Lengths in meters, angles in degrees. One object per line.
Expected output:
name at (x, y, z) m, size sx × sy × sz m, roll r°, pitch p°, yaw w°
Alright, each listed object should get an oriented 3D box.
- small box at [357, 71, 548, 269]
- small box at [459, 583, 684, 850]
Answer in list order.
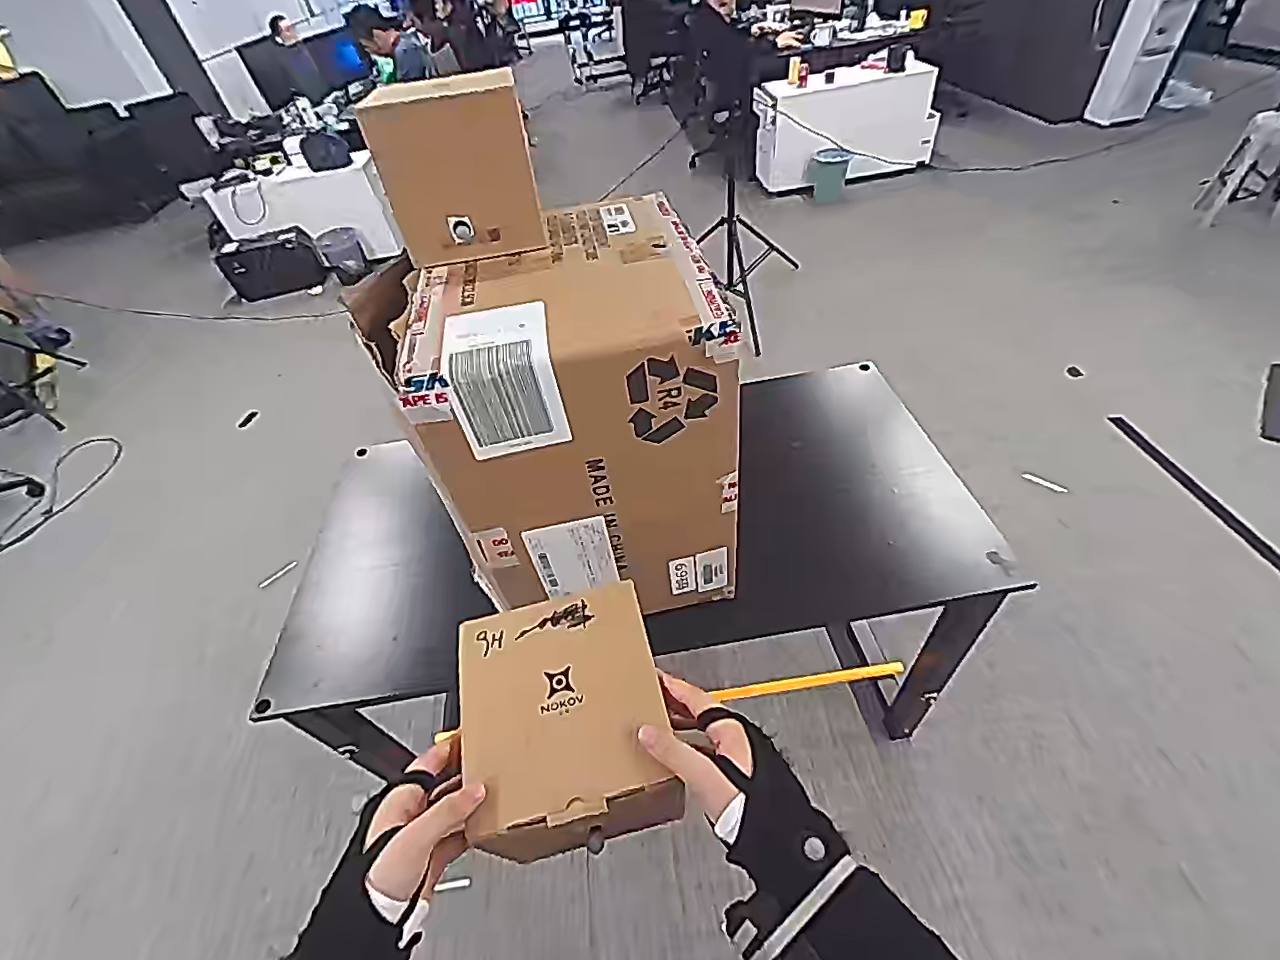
small box at (-0.216, -0.381, 0.666) m, size 0.168 × 0.176 × 0.179 m, roll -13°, pitch 44°, yaw -4°
small box at (-0.059, 0.229, 0.512) m, size 0.168 × 0.176 × 0.179 m, roll -15°, pitch 51°, yaw -5°
